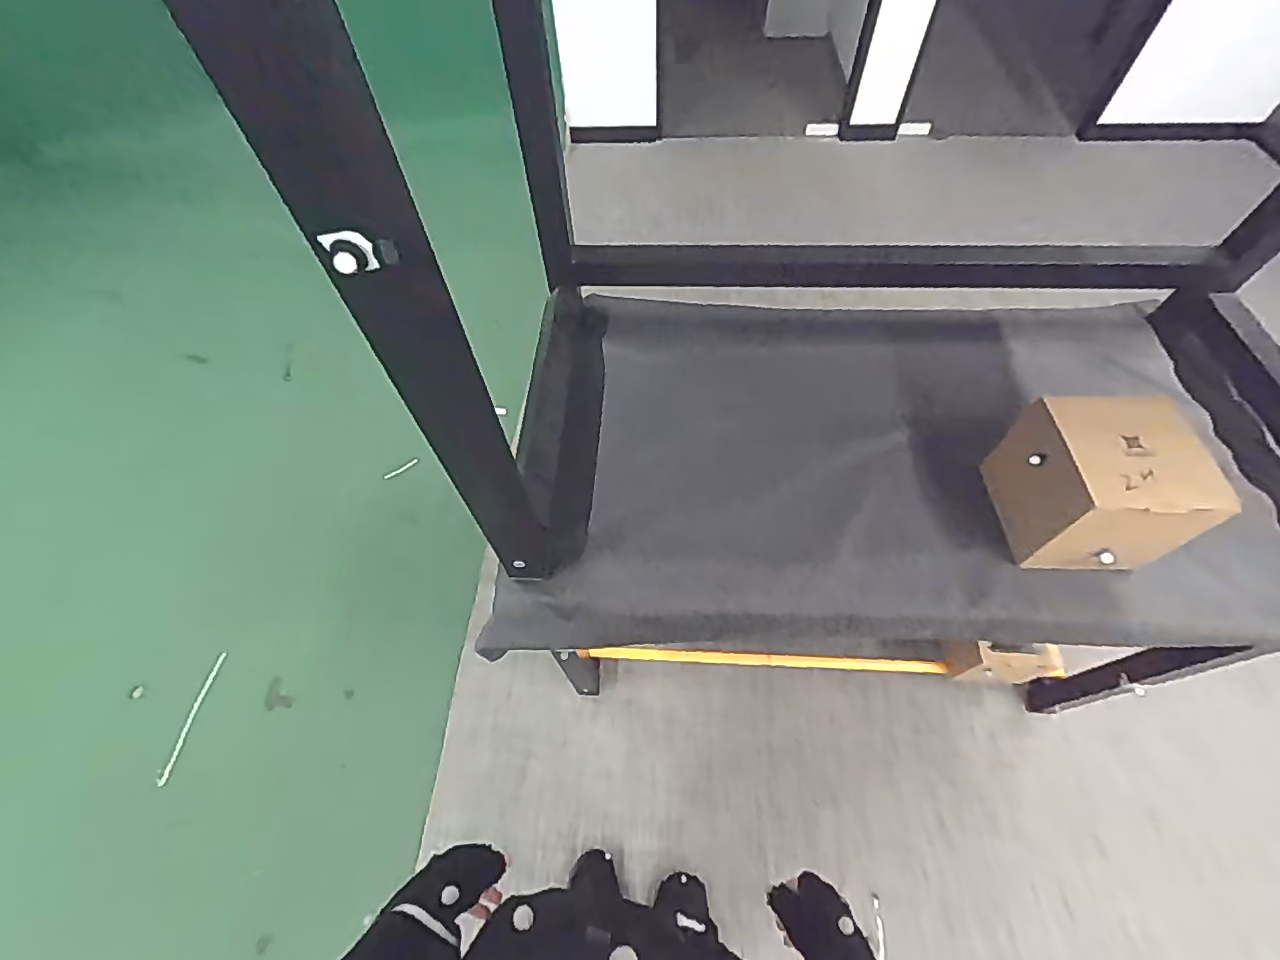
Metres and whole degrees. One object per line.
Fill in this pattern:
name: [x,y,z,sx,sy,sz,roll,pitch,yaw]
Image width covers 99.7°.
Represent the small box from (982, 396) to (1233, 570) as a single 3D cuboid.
small box: [0.609,0.005,0.739,0.168,0.176,0.179,0,56,3]
